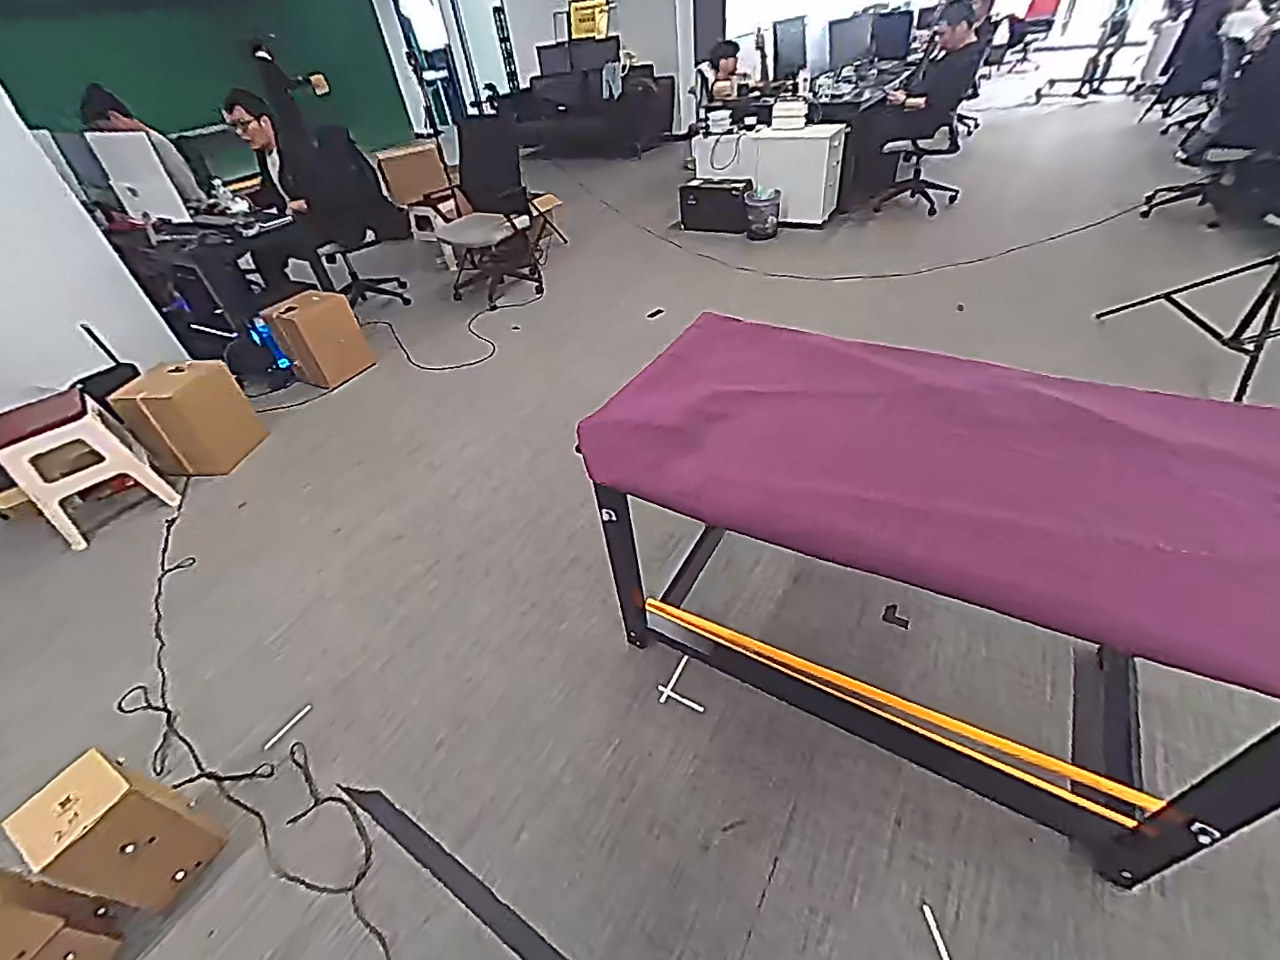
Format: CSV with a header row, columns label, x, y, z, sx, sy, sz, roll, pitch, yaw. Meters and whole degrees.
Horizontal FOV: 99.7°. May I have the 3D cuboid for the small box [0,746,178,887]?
label,x,y,z,sx,sy,sz,roll,pitch,yaw
small box,-1.125,0.697,1.117,0.179,0.176,0.168,18,48,25

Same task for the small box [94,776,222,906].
label,x,y,z,sx,sy,sz,roll,pitch,yaw
small box,-1.111,0.821,1.225,0.179,0.176,0.168,19,48,26

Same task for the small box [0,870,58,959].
label,x,y,z,sx,sy,sz,roll,pitch,yaw
small box,-1.246,0.833,0.986,0.179,0.176,0.168,14,46,23
